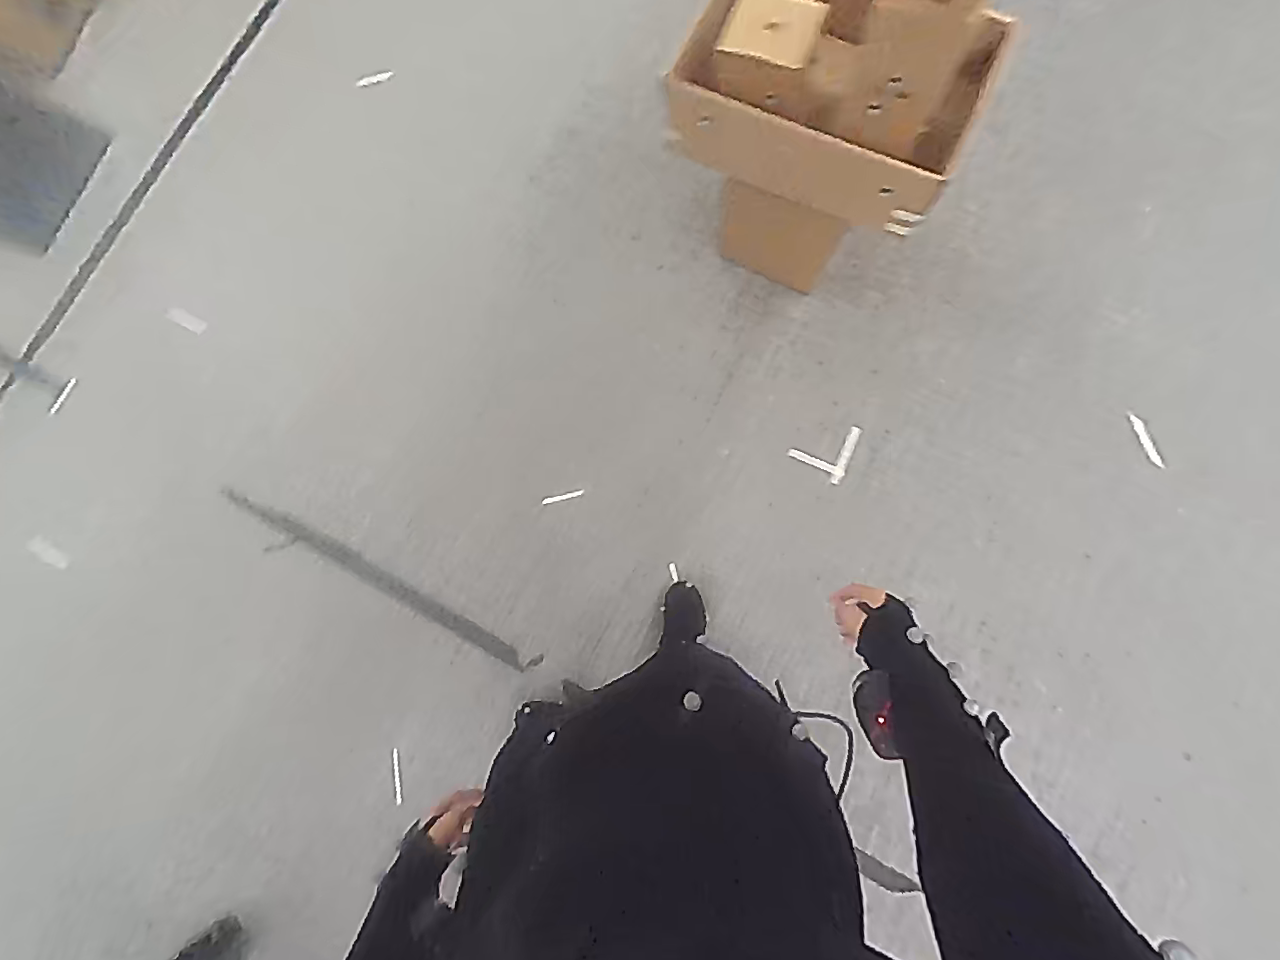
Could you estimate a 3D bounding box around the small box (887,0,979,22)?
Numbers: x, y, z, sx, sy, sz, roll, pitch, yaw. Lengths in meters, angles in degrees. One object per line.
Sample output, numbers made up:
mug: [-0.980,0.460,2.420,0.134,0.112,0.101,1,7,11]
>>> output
small box: [0.474,-0.845,0.799,0.168,0.176,0.179,24,84,9]
